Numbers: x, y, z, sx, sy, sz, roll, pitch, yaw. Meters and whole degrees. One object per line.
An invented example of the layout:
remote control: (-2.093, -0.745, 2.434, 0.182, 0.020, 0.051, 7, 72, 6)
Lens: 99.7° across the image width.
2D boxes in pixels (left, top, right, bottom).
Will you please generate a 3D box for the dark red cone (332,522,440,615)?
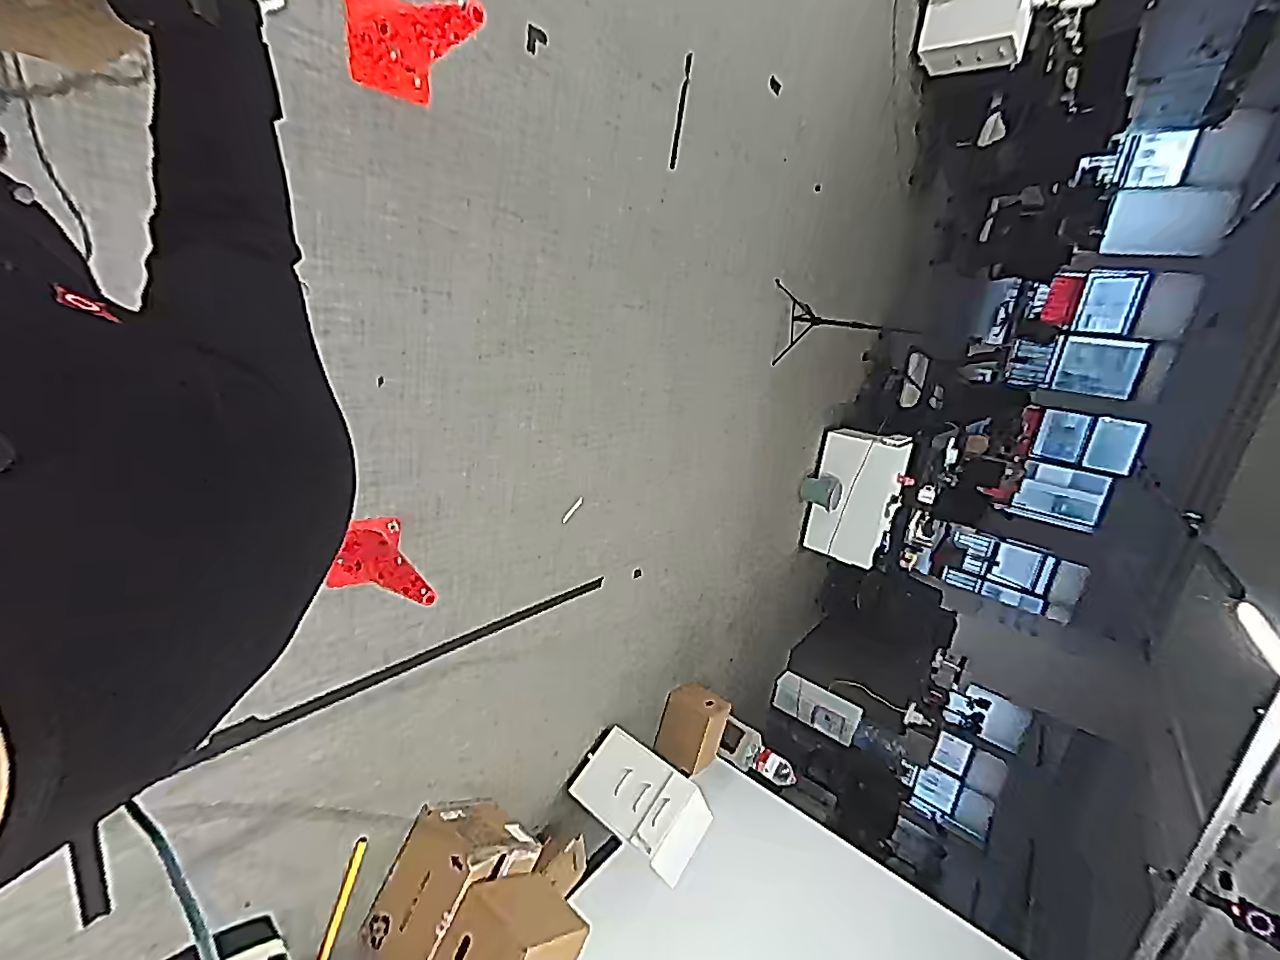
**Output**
dark red cone: (-0.661, 0.265, 1.470, 0.201, 0.394, 0.202, -3, 108, -51)

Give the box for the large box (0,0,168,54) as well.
large box: (-0.536, -0.483, 0.255, 0.408, 0.320, 0.320, -14, 120, -51)

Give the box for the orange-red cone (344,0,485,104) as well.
orange-red cone: (-0.464, -0.988, 1.182, 0.198, 0.360, 0.199, -16, 117, -50)
